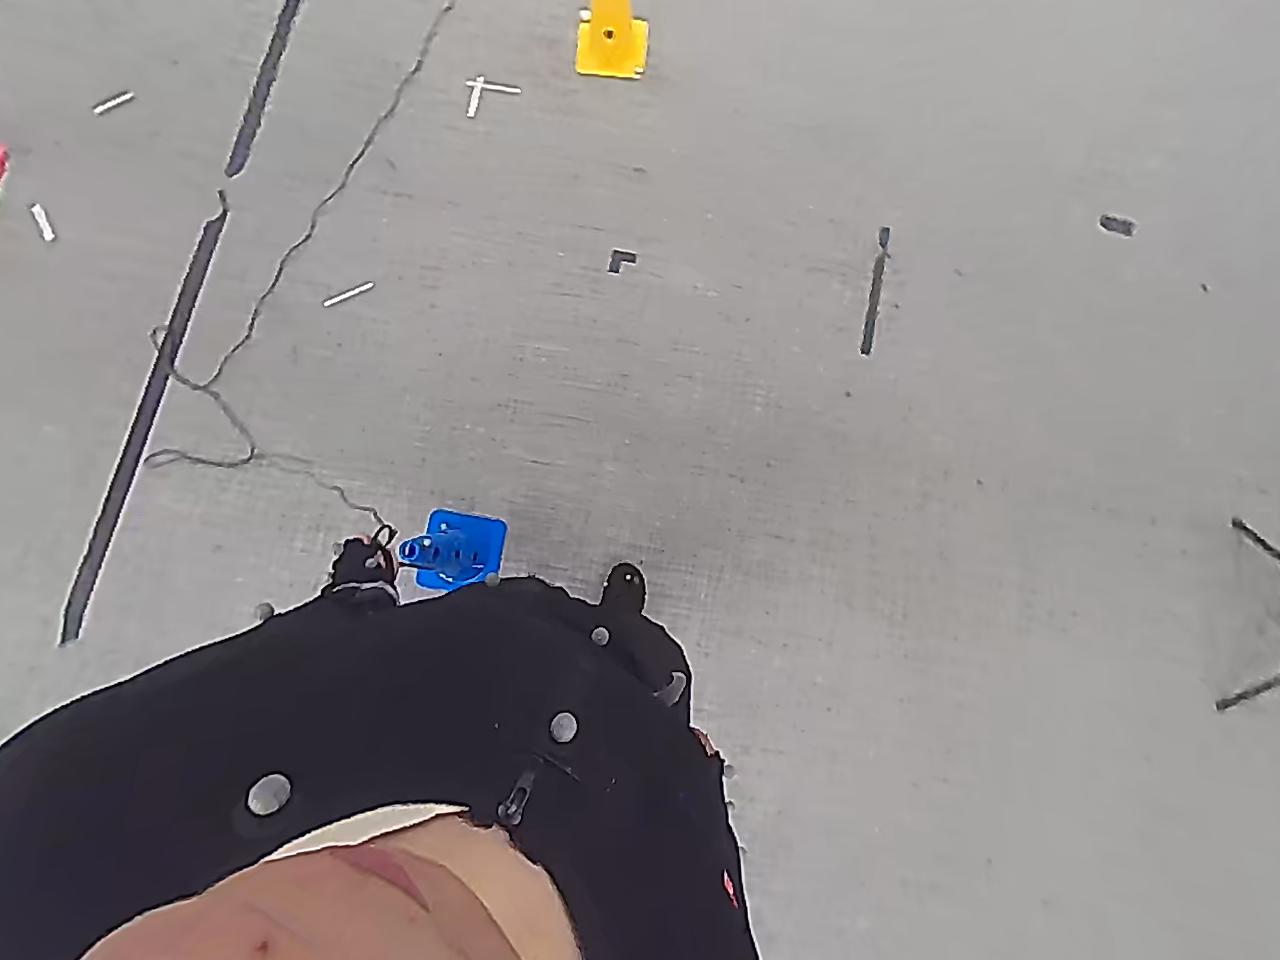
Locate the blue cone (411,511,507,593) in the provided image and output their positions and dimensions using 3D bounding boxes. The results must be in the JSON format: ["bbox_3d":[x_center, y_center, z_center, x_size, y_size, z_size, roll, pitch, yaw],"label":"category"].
[{"bbox_3d":[-0.436,0.156,1.205,0.192,0.380,0.193,12,81,-1],"label":"blue cone"}]
